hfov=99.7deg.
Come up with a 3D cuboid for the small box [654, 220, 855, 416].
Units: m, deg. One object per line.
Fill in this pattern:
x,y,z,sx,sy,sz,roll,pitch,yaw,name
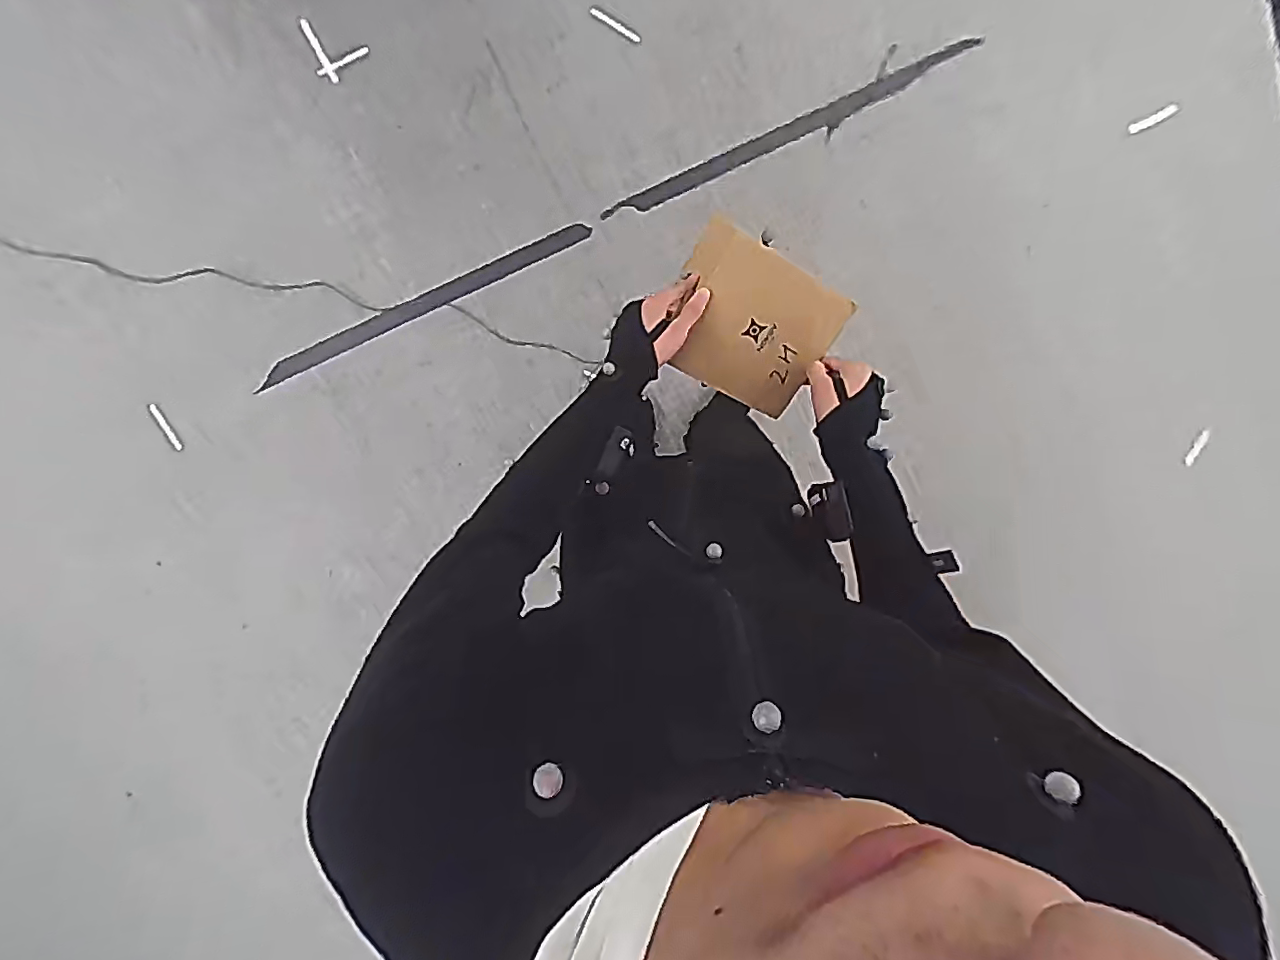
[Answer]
0.130,-0.215,0.699,0.179,0.176,0.168,22,118,-16,small box
